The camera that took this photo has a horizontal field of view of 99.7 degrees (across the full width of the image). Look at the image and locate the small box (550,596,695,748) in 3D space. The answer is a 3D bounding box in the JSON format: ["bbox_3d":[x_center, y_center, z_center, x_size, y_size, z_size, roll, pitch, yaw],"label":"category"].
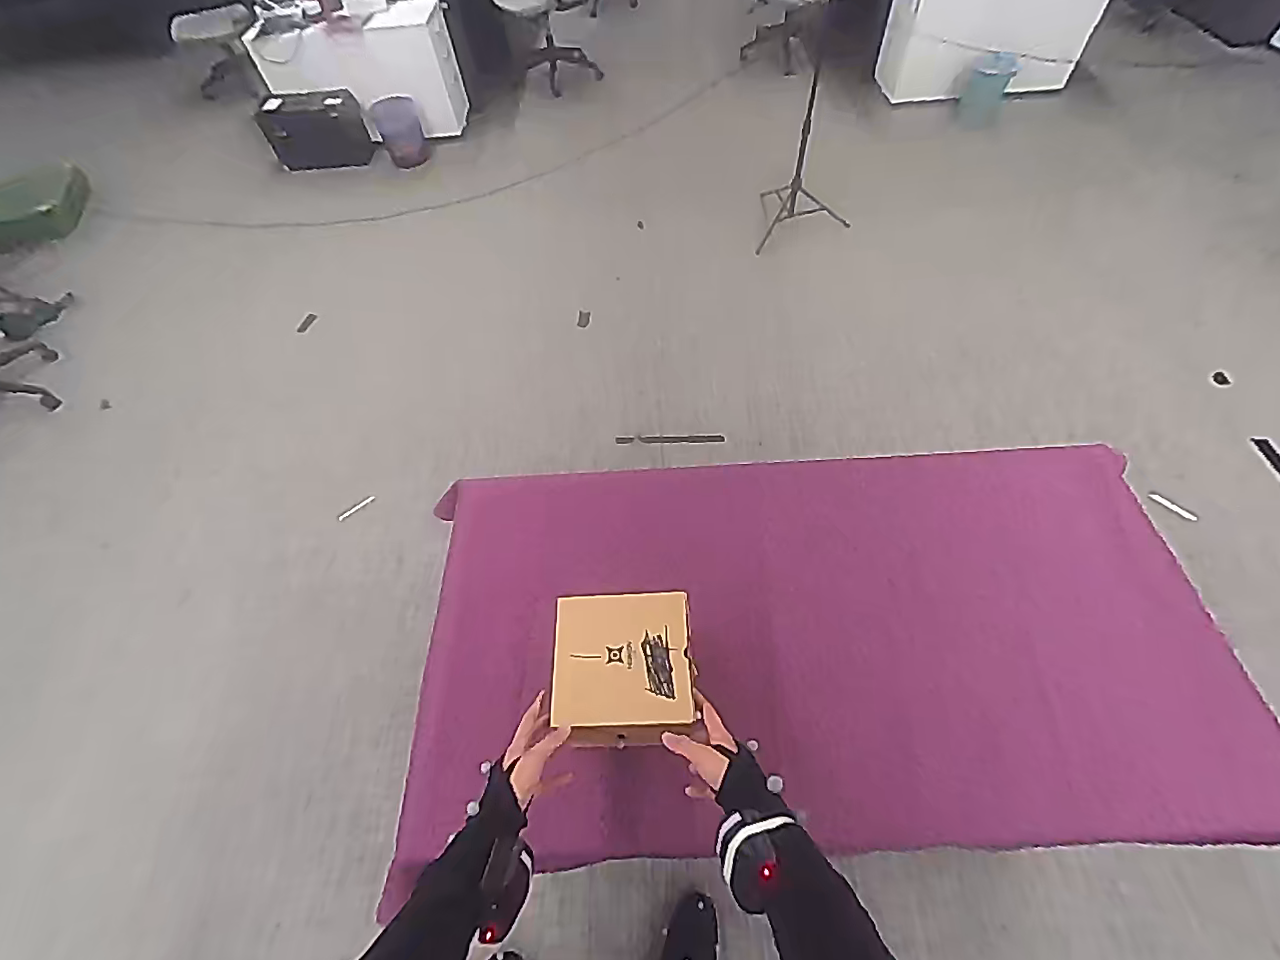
[{"bbox_3d":[-0.018,0.270,0.752,0.179,0.176,0.168,-3,56,3],"label":"small box"}]
